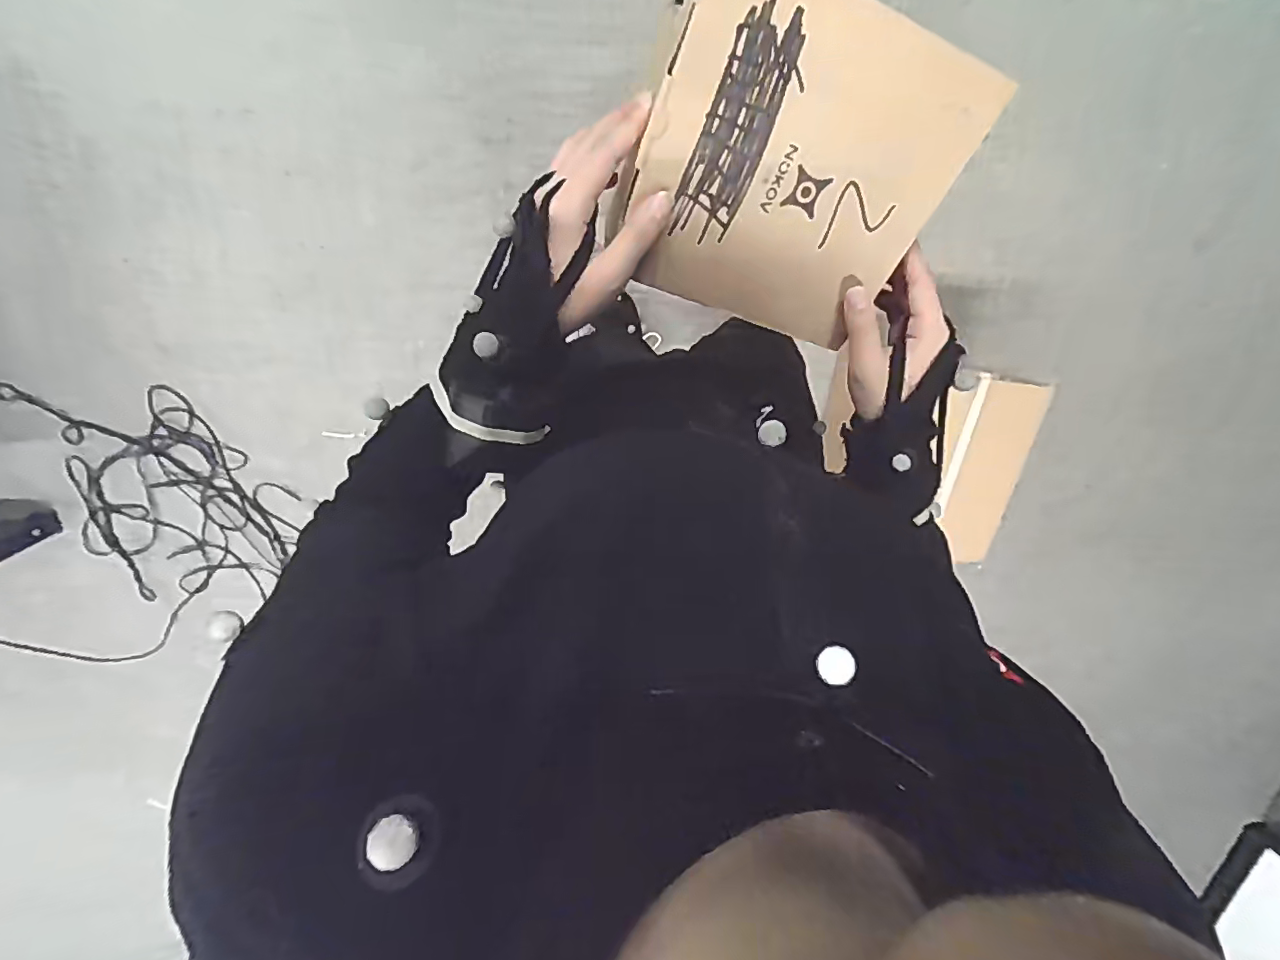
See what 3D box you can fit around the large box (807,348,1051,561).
[{"bbox_3d":[0.626,-0.071,1.251,0.320,0.320,0.408,5,112,-7],"label":"large box"}]
